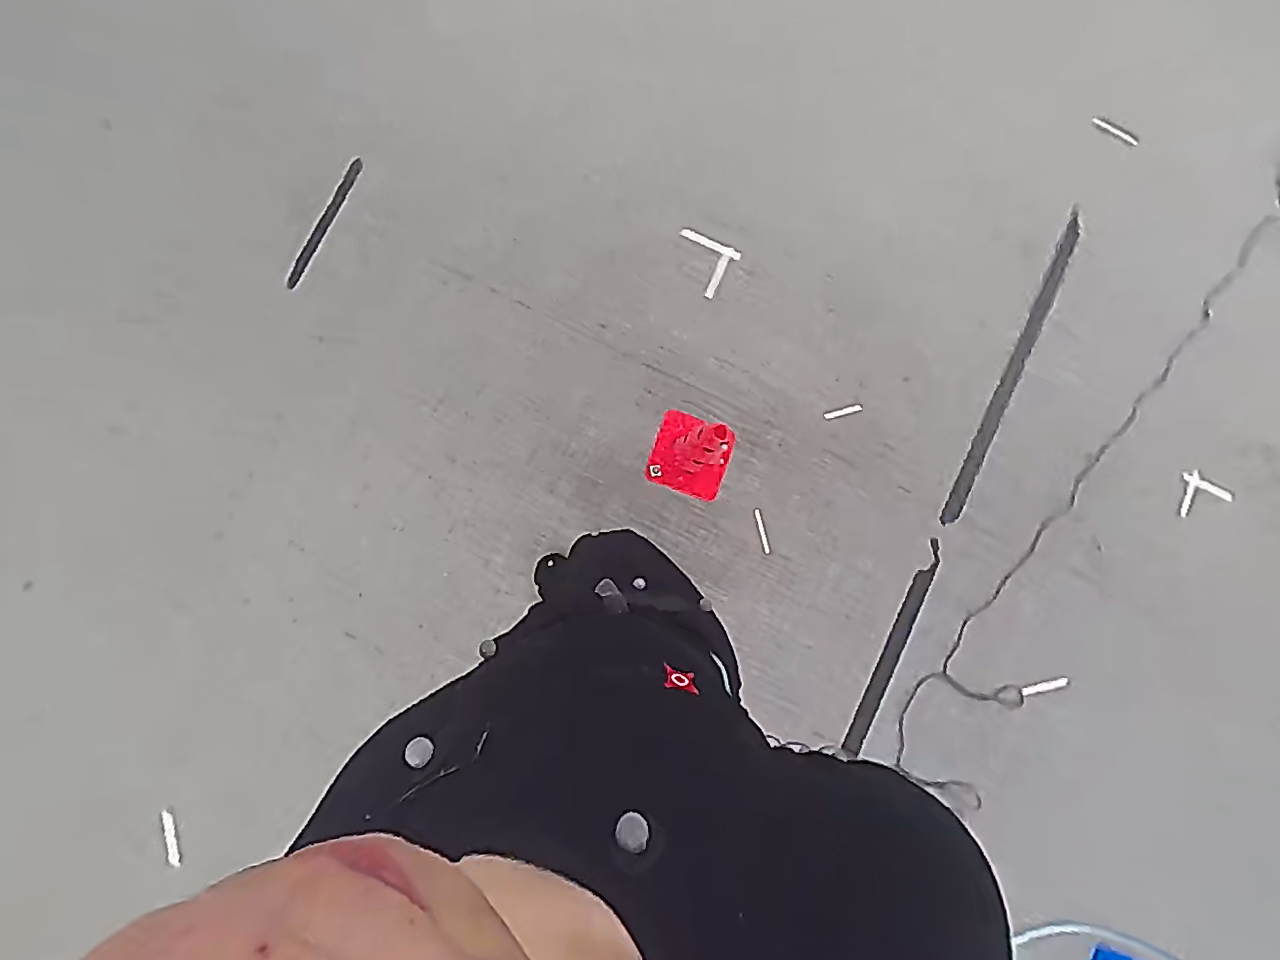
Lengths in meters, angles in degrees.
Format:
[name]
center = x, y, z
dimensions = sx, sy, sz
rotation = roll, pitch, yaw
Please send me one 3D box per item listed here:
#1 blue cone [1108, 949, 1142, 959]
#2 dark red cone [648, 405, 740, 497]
[blue cone]
center = 1.251, 1.283, 1.195
dimensions = 0.192, 0.380, 0.193
rotation = 27, 84, -2
[dark red cone]
center = 0.152, -0.092, 1.214
dimensions = 0.201, 0.394, 0.202
rotation = 19, 84, -3
